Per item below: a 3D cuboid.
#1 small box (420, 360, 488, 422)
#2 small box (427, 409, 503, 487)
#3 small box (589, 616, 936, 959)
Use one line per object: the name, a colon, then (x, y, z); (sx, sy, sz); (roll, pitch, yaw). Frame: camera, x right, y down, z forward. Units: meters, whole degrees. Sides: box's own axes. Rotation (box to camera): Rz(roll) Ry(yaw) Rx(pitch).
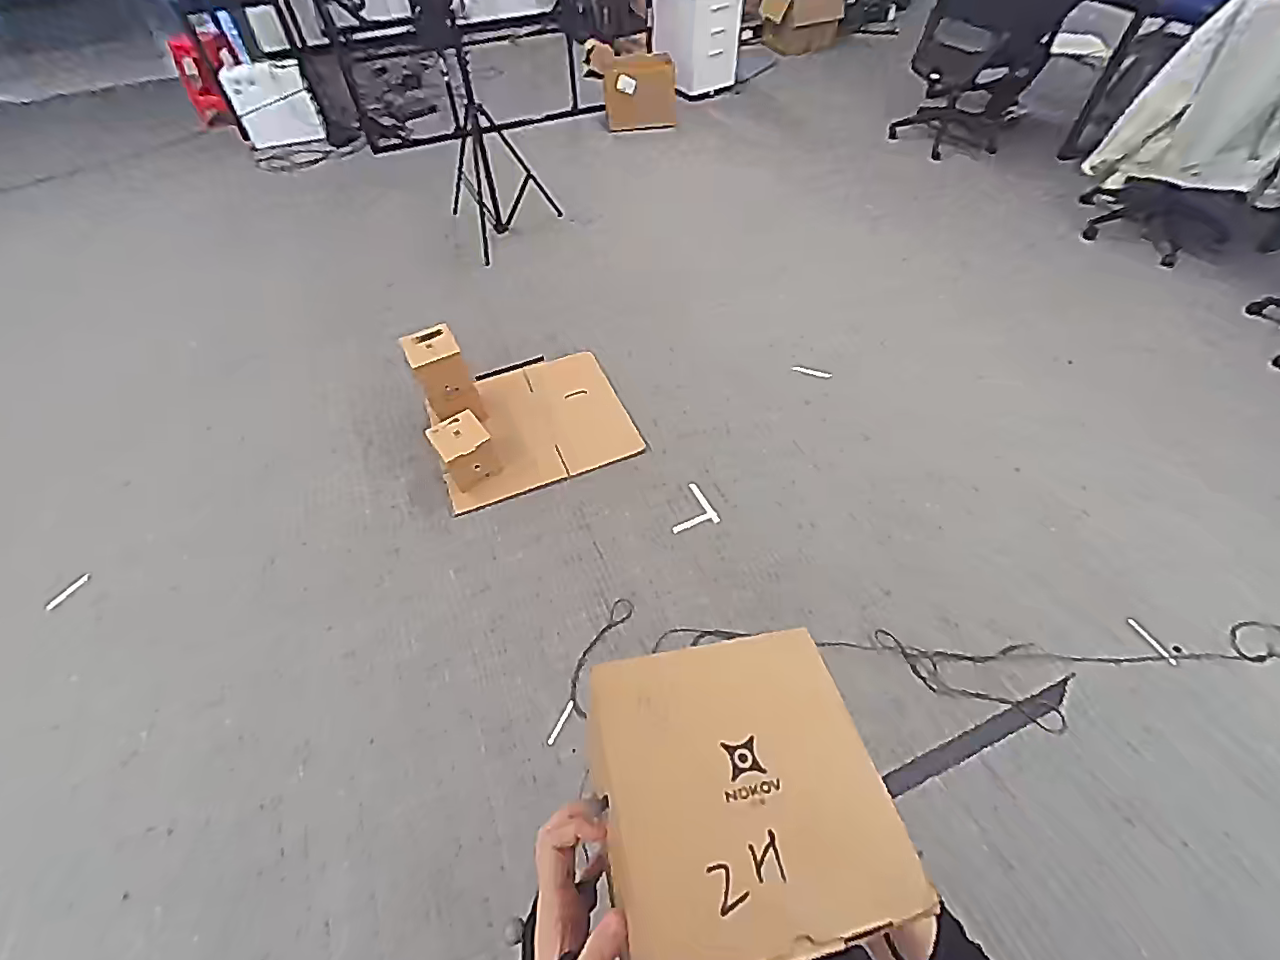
small box: (-0.684, -0.306, 1.996); (0.168, 0.176, 0.179); (-28, 57, -17)
small box: (-0.587, -0.100, 1.832); (0.168, 0.176, 0.179); (-31, 58, -20)
small box: (0.057, 0.226, 0.387); (0.168, 0.176, 0.179); (-7, 47, -12)
